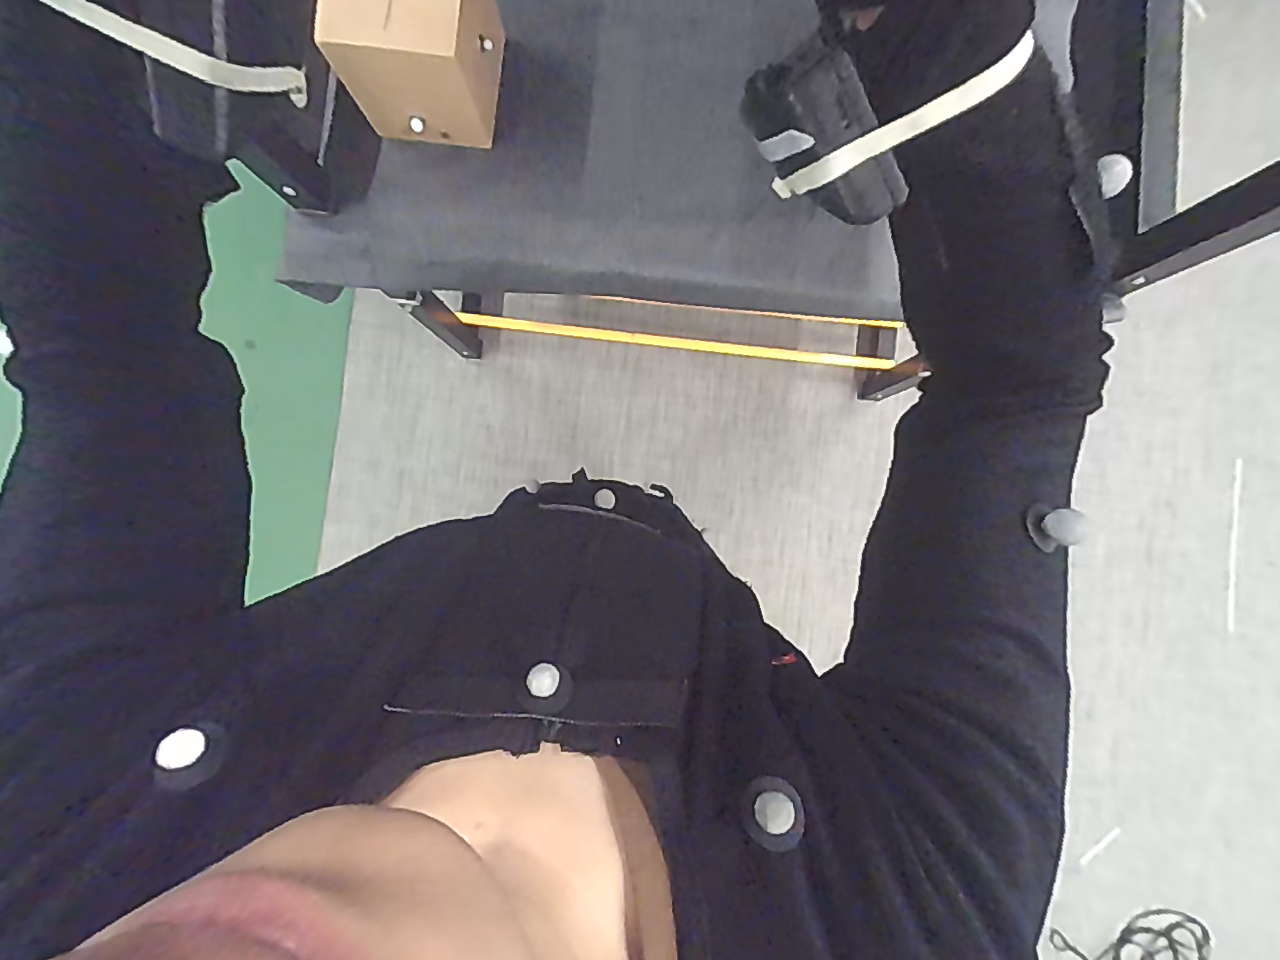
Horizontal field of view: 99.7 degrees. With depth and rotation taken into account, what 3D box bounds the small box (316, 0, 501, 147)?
[{"bbox_3d":[-0.287,-0.582,0.708,0.168,0.176,0.179,6,88,-1],"label":"small box"}]
